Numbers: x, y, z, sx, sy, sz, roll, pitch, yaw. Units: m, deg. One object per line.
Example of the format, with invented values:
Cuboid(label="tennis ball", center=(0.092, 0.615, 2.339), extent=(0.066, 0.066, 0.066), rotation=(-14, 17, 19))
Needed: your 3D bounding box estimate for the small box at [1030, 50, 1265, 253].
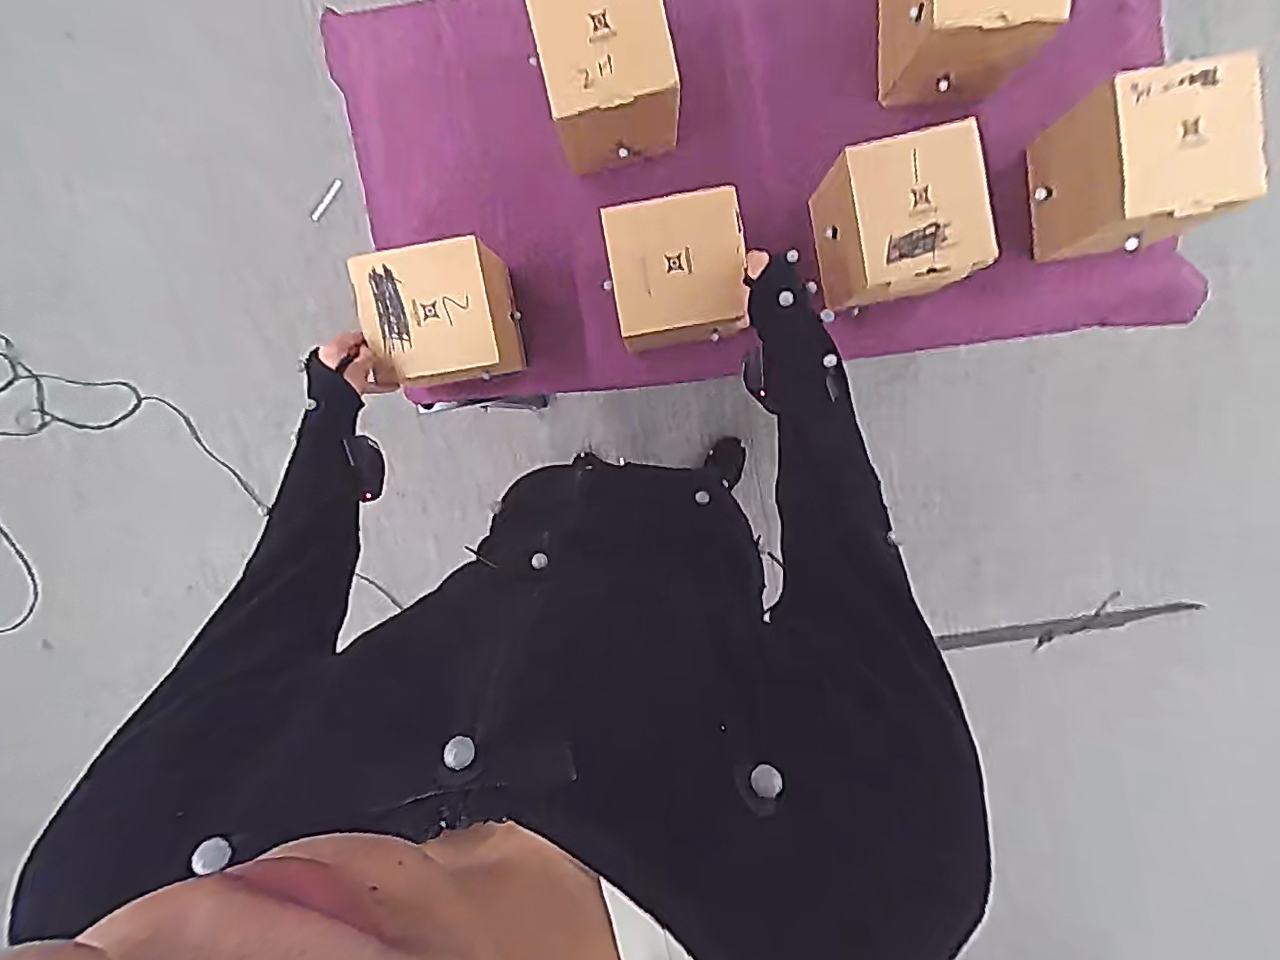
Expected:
Cuboid(label="small box", center=(0.668, -0.423, 0.732), extent=(0.168, 0.176, 0.179), rotation=(-7, 94, 3))

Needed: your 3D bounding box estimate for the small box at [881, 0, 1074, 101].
Cuboid(label="small box", center=(0.436, -0.649, 0.721), extent=(0.168, 0.176, 0.179), rotation=(-3, 98, 3))

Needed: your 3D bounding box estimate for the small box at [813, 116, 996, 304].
Cuboid(label="small box", center=(0.354, -0.355, 0.752), extent=(0.168, 0.176, 0.179), rotation=(-11, 95, 3))

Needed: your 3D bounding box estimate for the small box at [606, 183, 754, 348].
Cuboid(label="small box", center=(0.052, -0.292, 0.770), extent=(0.179, 0.176, 0.168), rotation=(-8, 95, 2))

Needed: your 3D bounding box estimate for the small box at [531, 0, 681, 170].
Cuboid(label="small box", center=(-0.044, -0.569, 0.745), extent=(0.168, 0.176, 0.179), rotation=(-13, 96, 3))
